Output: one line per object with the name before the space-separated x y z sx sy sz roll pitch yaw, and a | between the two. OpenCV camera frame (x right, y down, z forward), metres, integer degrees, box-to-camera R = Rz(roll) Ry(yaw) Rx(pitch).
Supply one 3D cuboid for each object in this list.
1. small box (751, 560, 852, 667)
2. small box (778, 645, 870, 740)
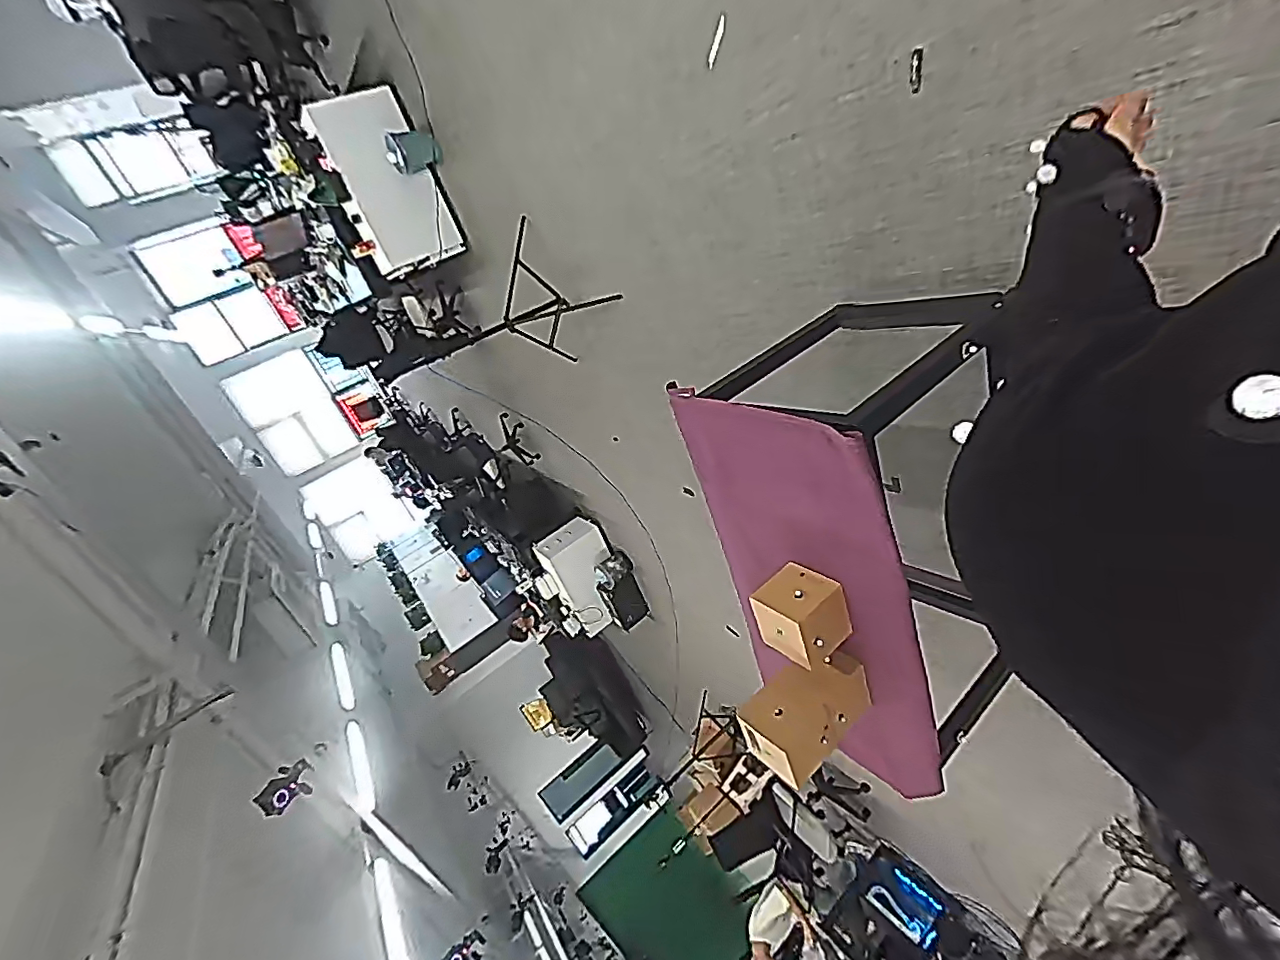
small box | 0.422 0.337 1.402 0.168 0.176 0.179 21 140 54
small box | 0.522 0.577 1.519 0.168 0.176 0.179 20 138 54
